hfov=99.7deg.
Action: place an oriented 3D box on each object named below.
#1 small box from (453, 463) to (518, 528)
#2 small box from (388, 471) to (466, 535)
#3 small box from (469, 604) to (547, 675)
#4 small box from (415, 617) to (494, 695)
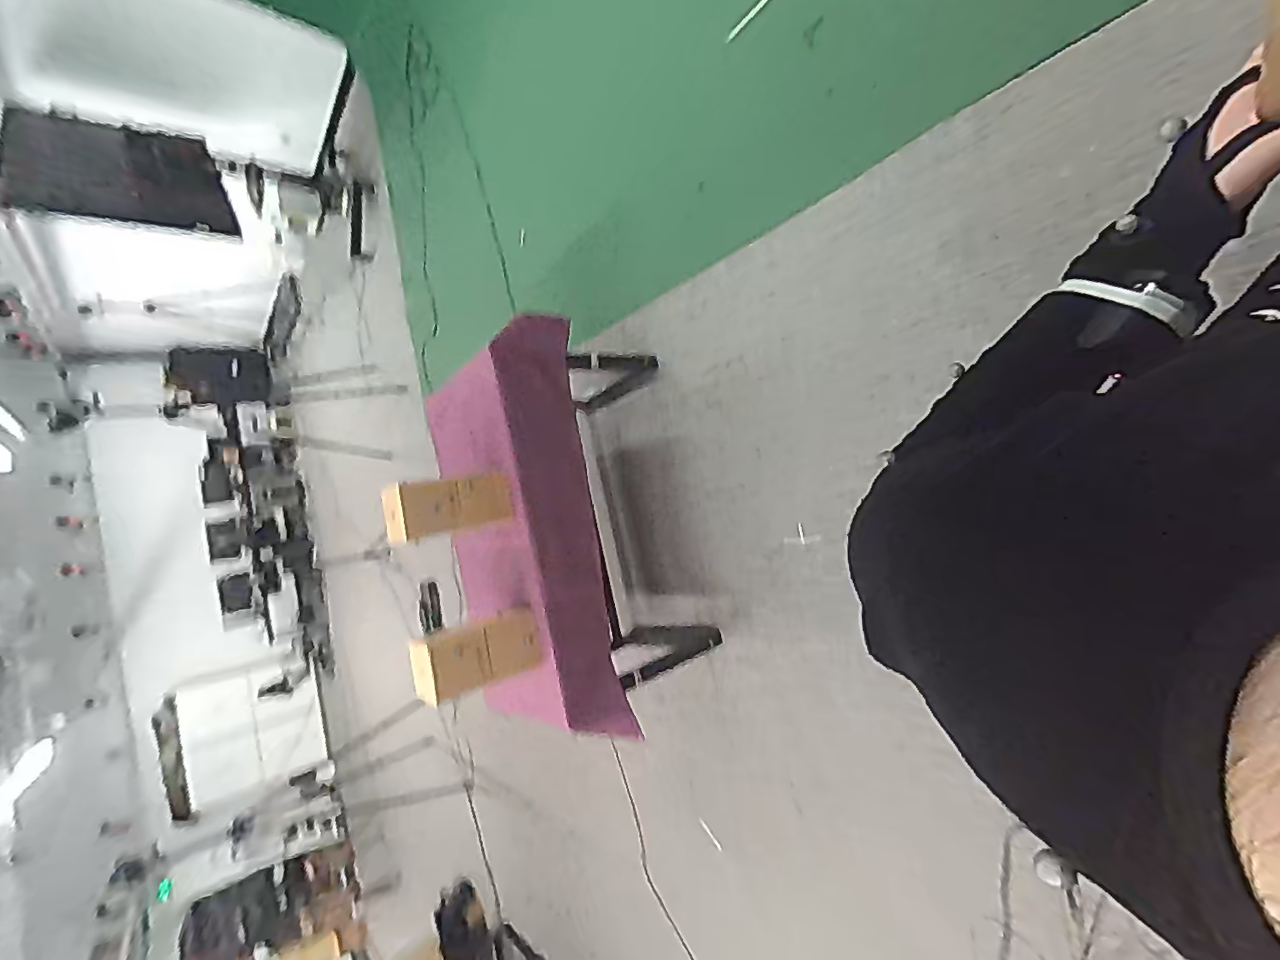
[{"bbox_3d":[-0.506,0.049,1.726,0.168,0.176,0.179,-13,87,50],"label":"small box"},{"bbox_3d":[-0.634,0.070,1.624,0.179,0.176,0.168,-9,89,50],"label":"small box"},{"bbox_3d":[-0.413,0.491,1.696,0.168,0.176,0.179,-14,85,50],"label":"small box"},{"bbox_3d":[-0.541,0.510,1.595,0.179,0.176,0.168,-12,87,51],"label":"small box"}]
